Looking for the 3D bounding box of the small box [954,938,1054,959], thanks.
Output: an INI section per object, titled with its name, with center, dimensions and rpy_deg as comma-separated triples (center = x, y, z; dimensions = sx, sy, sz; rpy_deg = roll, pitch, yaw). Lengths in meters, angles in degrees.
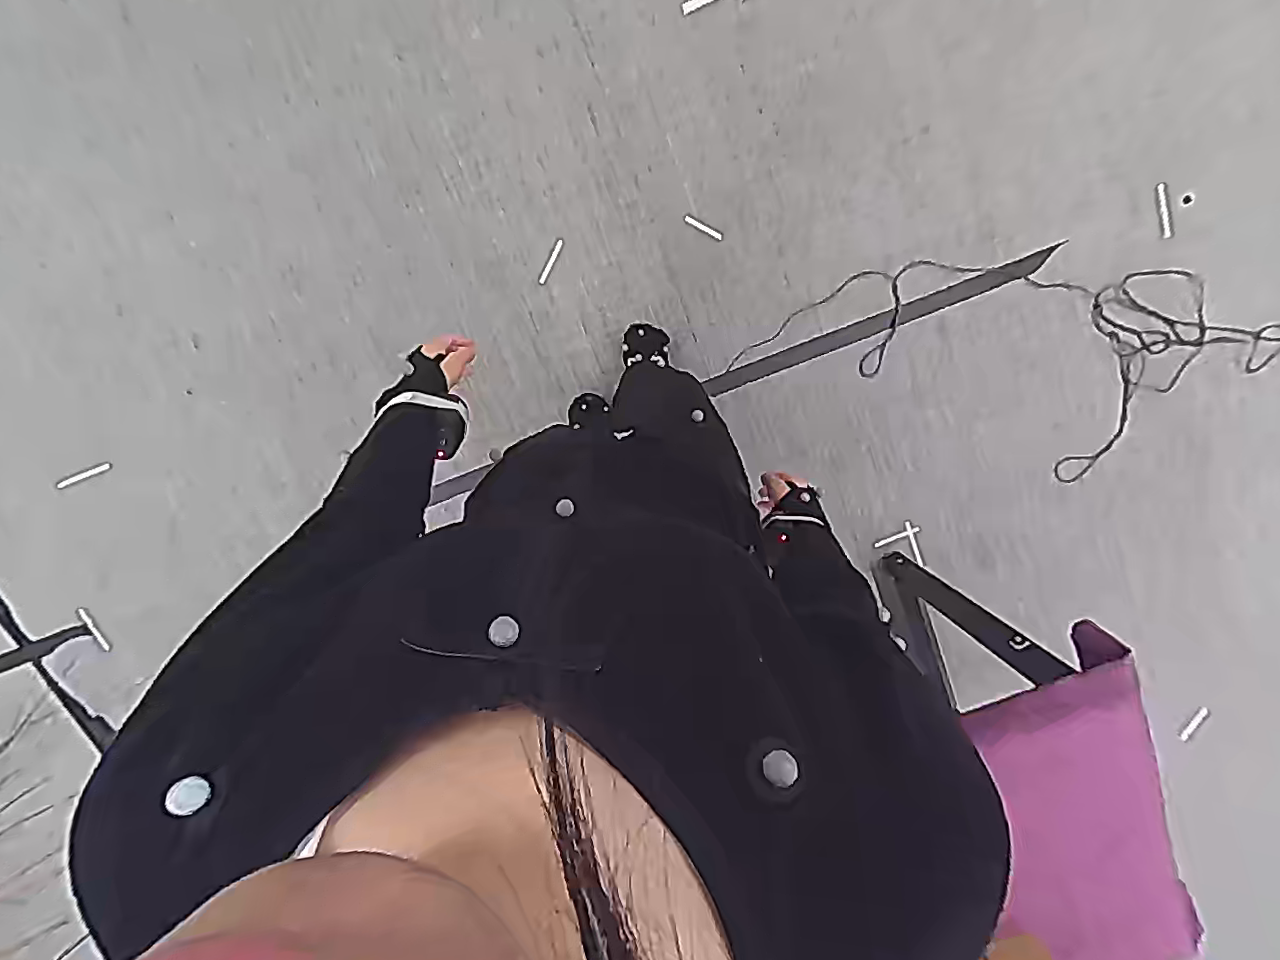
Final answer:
[small box]
center = 0.664, 0.924, 0.909
dimensions = 0.168, 0.176, 0.179
rpy_deg = -22, 100, 3
